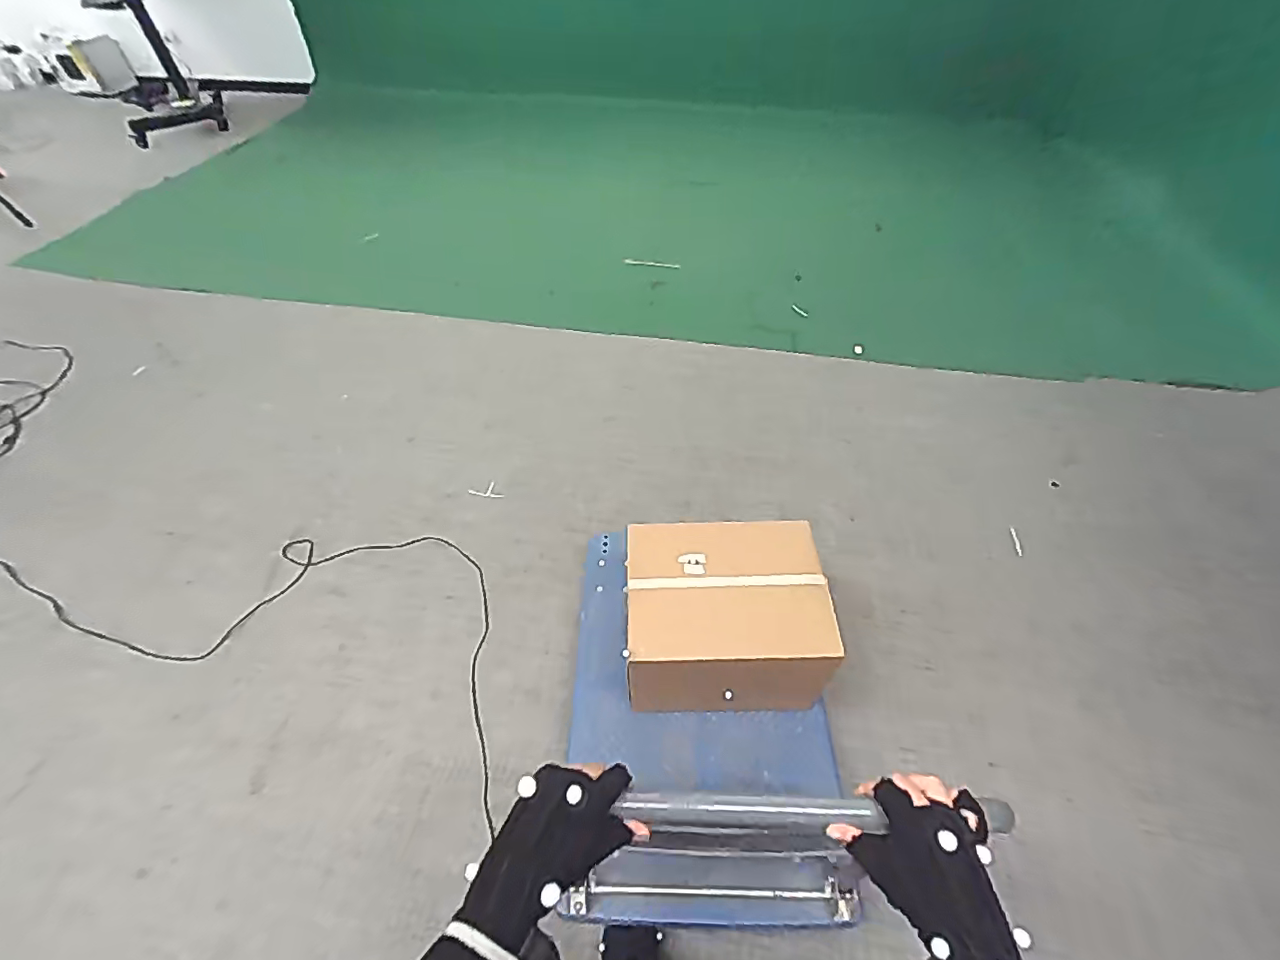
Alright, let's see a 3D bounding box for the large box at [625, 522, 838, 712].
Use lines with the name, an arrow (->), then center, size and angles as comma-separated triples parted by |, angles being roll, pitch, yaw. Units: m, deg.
large box -> 0.175, 0.314, 1.216 | 0.408, 0.320, 0.320 | -2, 49, 1
